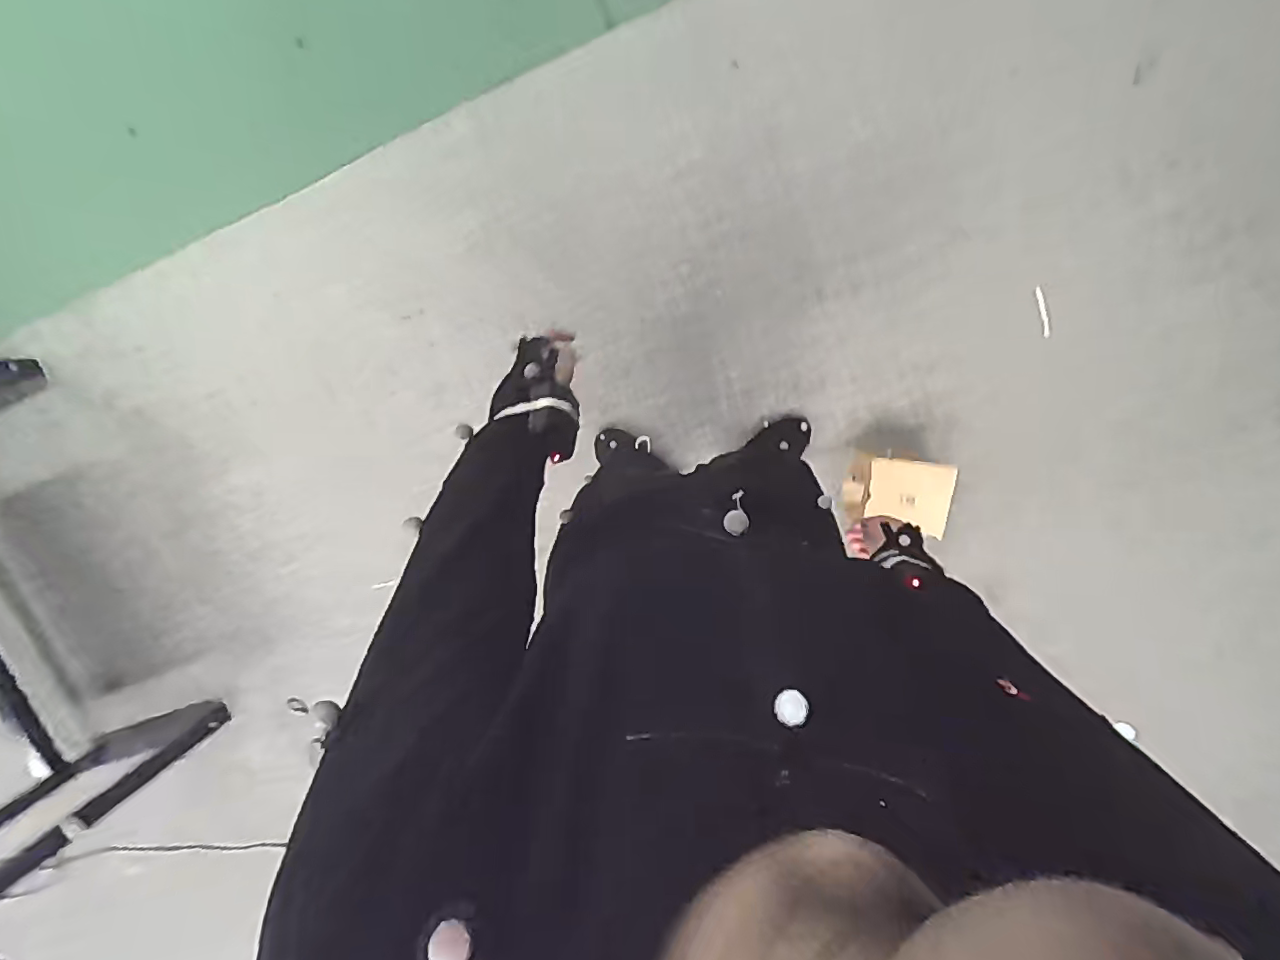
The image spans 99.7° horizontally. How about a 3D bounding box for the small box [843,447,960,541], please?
[{"bbox_3d":[0.580,0.024,1.222,0.179,0.176,0.168,7,104,5],"label":"small box"}]
